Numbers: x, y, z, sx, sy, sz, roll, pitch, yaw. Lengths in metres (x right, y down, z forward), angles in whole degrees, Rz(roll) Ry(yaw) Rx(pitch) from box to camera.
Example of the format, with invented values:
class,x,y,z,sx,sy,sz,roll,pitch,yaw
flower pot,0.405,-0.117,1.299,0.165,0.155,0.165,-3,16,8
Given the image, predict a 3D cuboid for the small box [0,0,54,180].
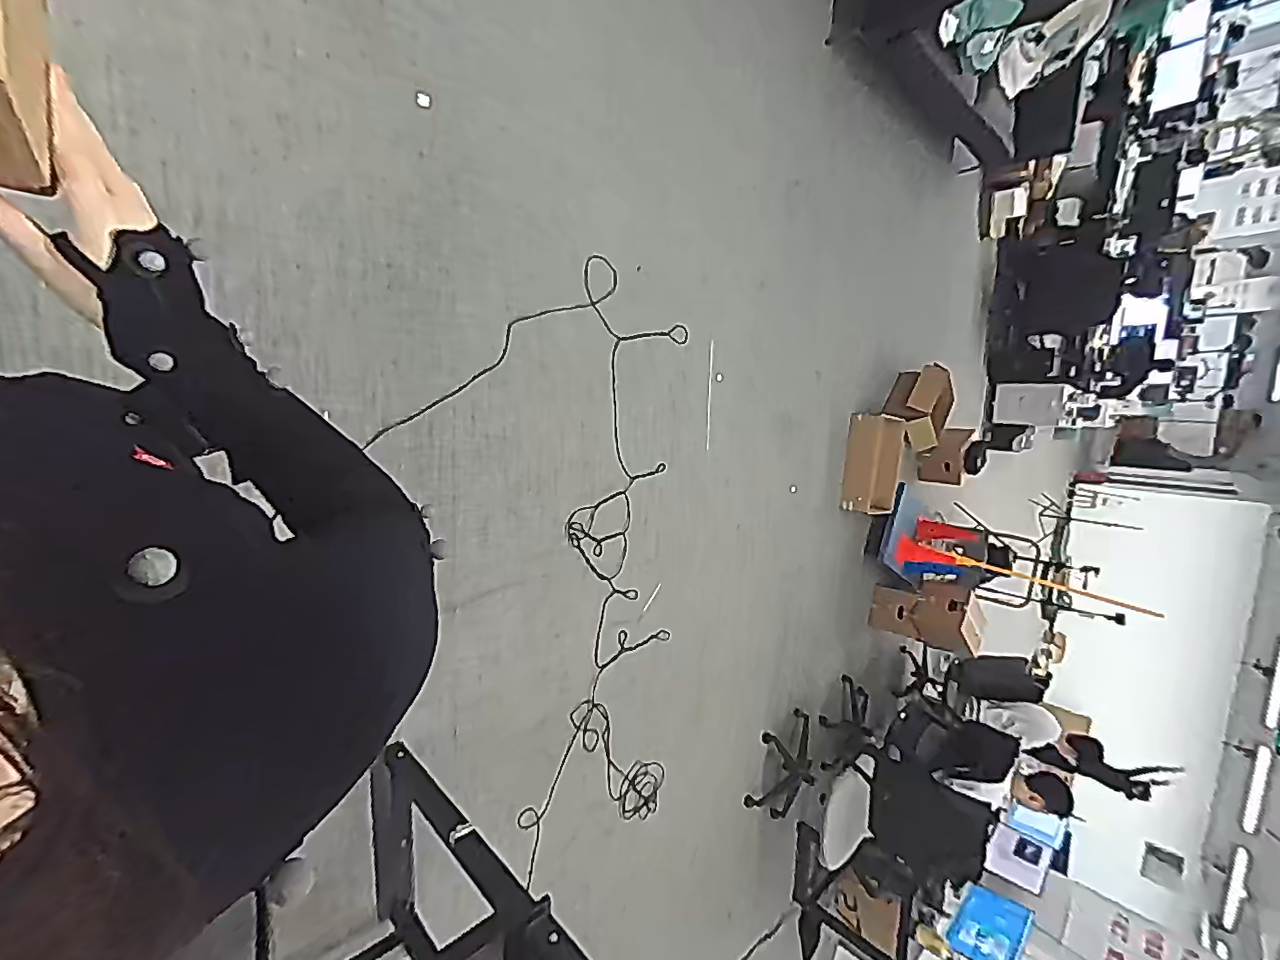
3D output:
class,x,y,z,sx,sy,sz,roll,pitch,yaw
small box,-0.376,-0.250,0.215,0.179,0.176,0.168,-2,97,-42
